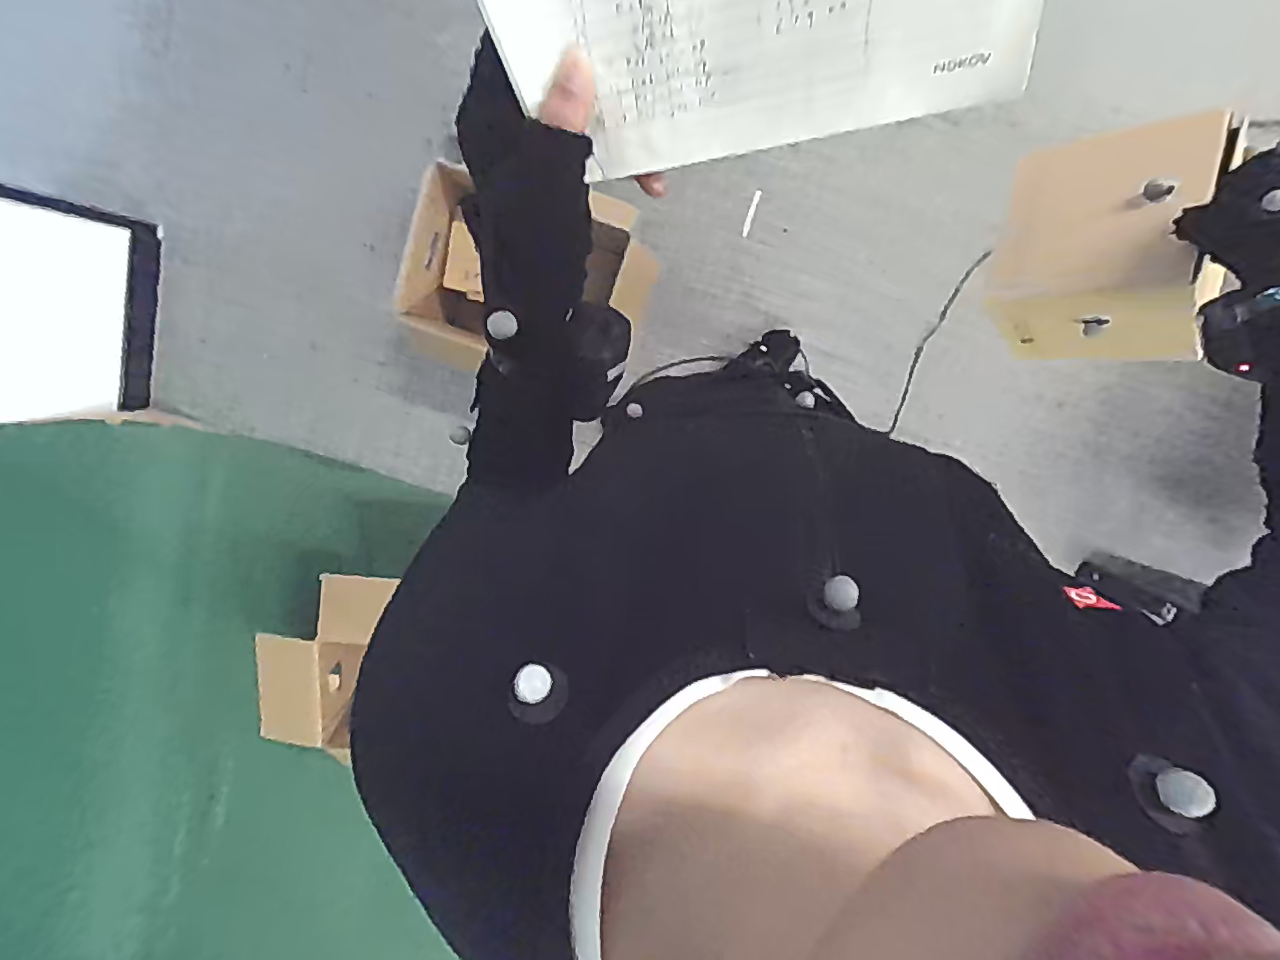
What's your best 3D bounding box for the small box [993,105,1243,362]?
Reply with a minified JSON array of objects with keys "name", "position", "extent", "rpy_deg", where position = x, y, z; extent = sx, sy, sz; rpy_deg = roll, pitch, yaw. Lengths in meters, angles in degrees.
[{"name":"small box","position":[0.503,-0.236,0.577],"extent":[0.168,0.176,0.179],"rpy_deg":[21,84,-41]}]
